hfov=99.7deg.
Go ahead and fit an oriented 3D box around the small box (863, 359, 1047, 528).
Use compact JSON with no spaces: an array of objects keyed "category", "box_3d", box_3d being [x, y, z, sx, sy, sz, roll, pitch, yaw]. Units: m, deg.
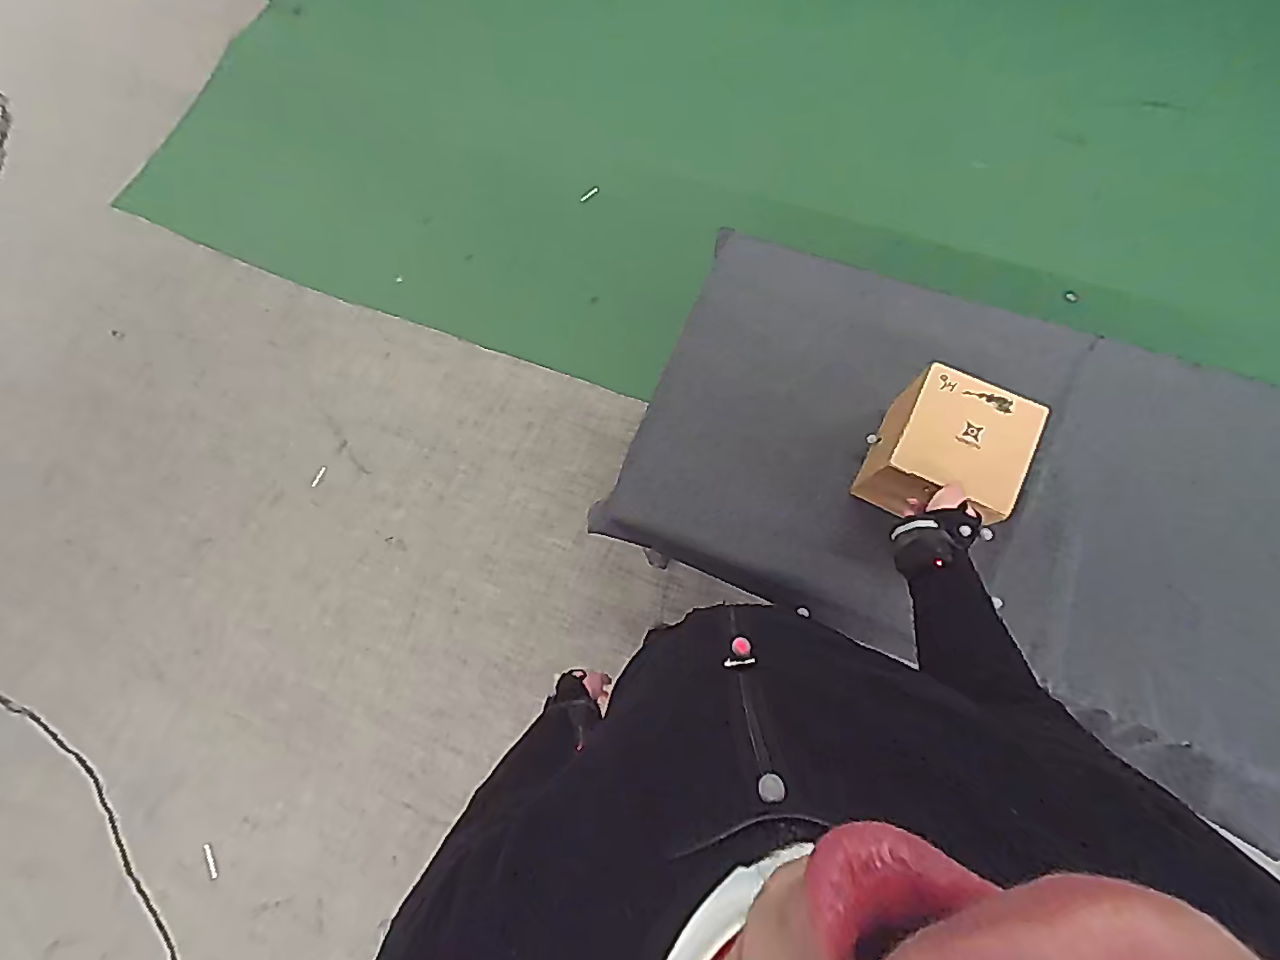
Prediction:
[{"category":"small box","box_3d":[0.458,-0.044,0.816,0.168,0.176,0.179,24,77,11]}]
